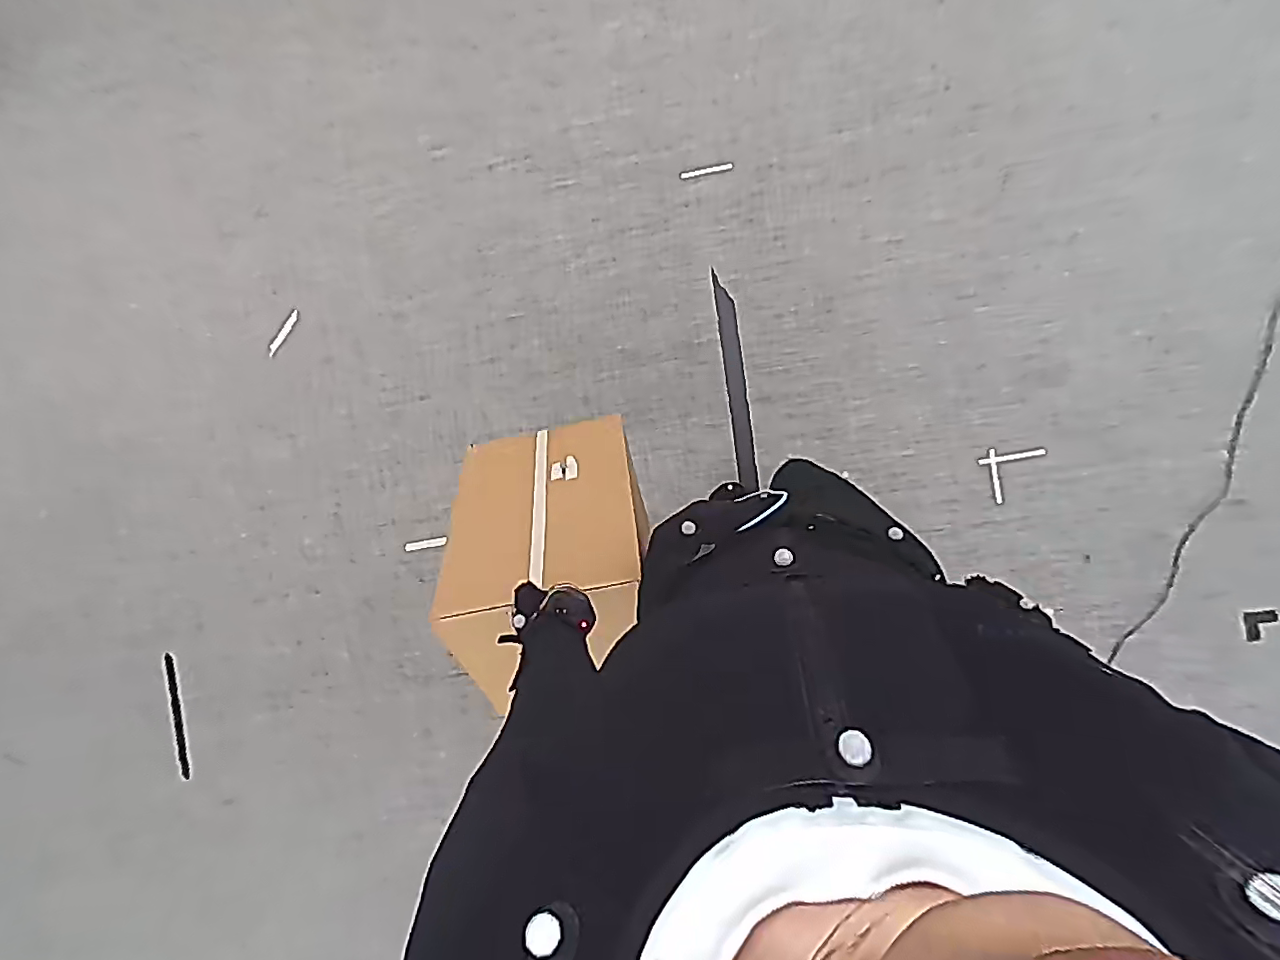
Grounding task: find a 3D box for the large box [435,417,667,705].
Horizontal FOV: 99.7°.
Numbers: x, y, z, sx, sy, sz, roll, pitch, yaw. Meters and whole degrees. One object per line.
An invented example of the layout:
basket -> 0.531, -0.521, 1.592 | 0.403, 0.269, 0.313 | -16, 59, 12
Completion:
large box -> -0.145, 0.144, 1.022 | 0.320, 0.408, 0.320 | -10, 132, 2
